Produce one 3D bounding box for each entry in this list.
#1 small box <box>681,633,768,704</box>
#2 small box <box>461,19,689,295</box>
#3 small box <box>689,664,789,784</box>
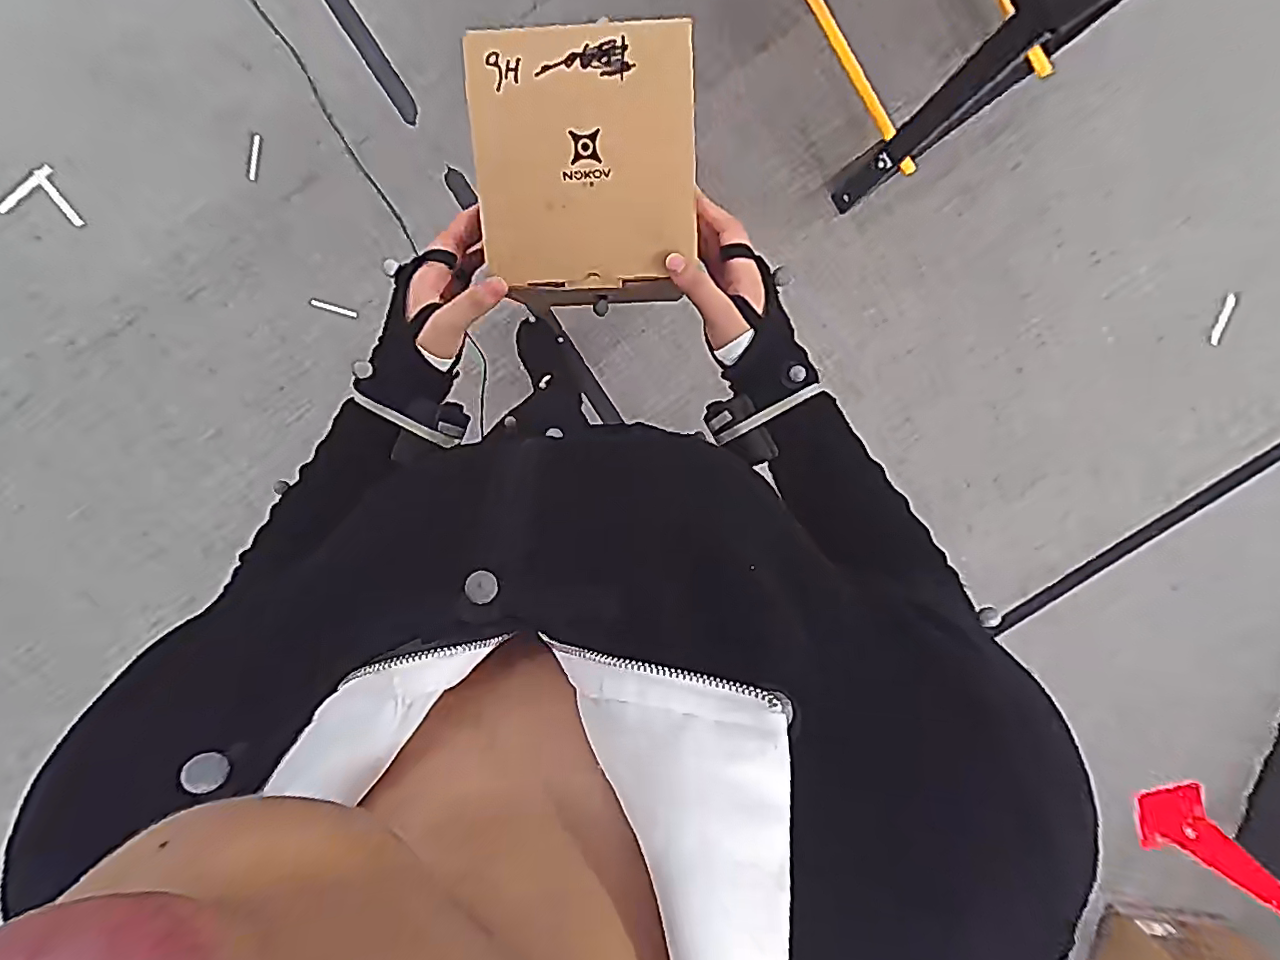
[{"bbox_3d":[0.225,0.562,1.500,0.179,0.176,0.168,-35,98,5],"label":"small box"},{"bbox_3d":[-0.044,-0.263,0.485,0.168,0.176,0.179,-3,104,0],"label":"small box"},{"bbox_3d":[0.237,0.595,1.341,0.168,0.176,0.179,-33,97,4],"label":"small box"}]
